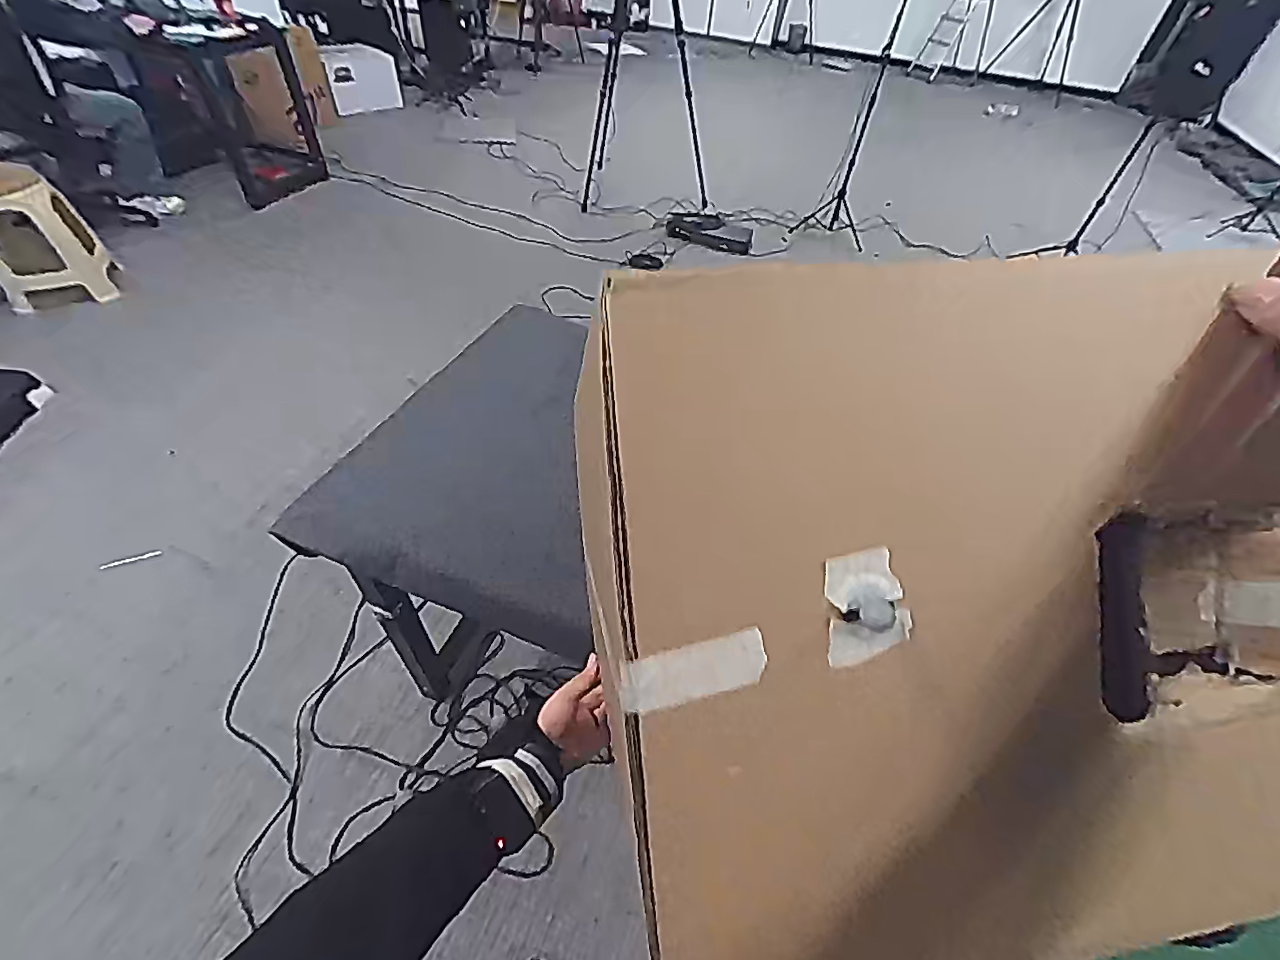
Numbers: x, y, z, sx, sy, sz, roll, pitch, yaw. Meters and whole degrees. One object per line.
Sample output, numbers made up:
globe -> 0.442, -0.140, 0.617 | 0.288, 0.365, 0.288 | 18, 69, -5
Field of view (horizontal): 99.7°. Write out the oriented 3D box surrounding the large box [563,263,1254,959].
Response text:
large box -> 0.115, 0.052, 0.430 | 0.320, 0.320, 0.408 | -6, 4, -10
